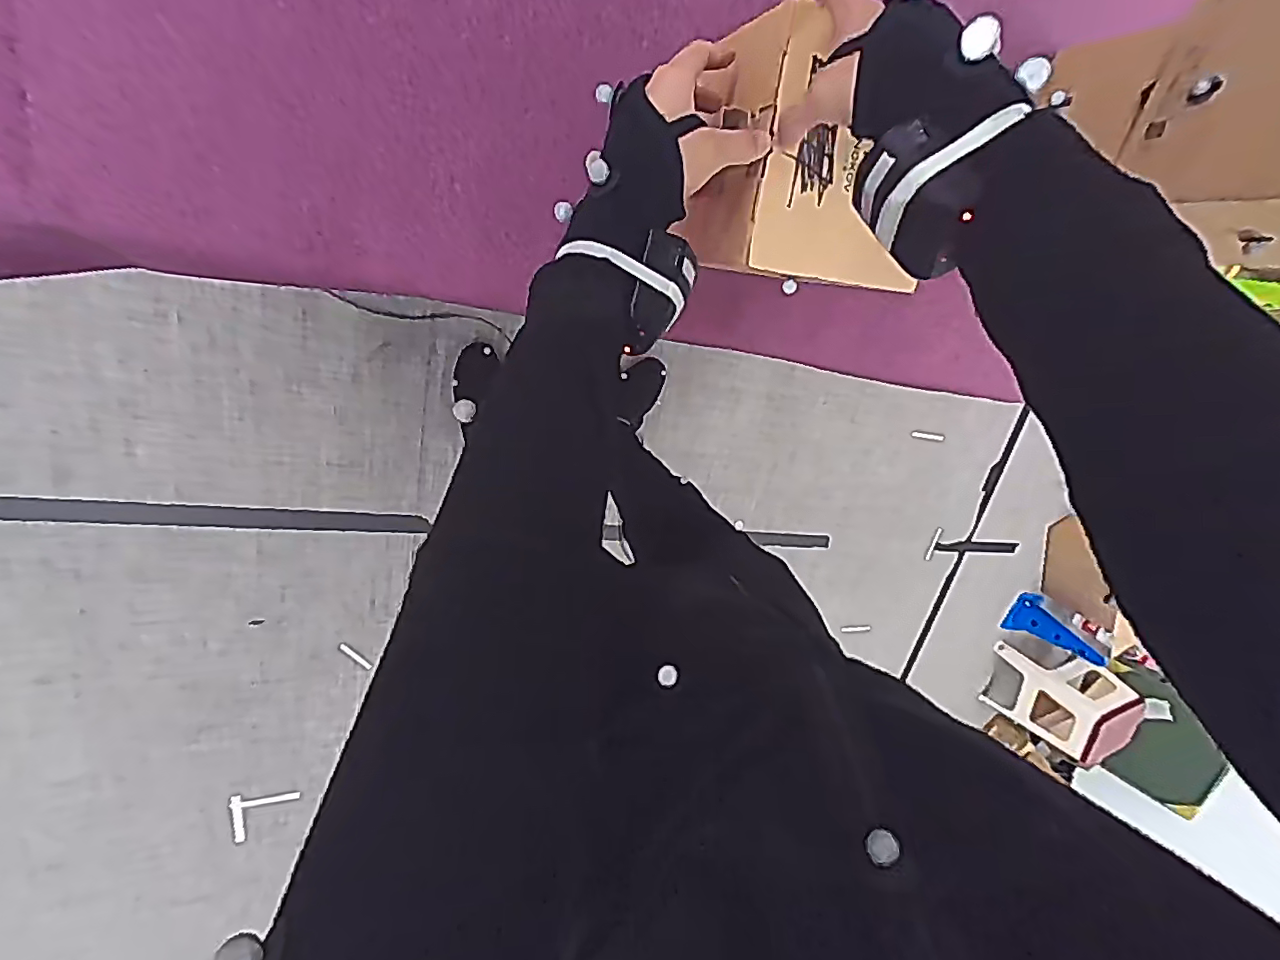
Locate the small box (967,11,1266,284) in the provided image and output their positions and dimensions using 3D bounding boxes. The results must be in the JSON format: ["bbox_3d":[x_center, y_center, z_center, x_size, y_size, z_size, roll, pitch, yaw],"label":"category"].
[{"bbox_3d":[0.513,-0.346,0.597,0.179,0.176,0.168,32,98,-31],"label":"small box"}]
